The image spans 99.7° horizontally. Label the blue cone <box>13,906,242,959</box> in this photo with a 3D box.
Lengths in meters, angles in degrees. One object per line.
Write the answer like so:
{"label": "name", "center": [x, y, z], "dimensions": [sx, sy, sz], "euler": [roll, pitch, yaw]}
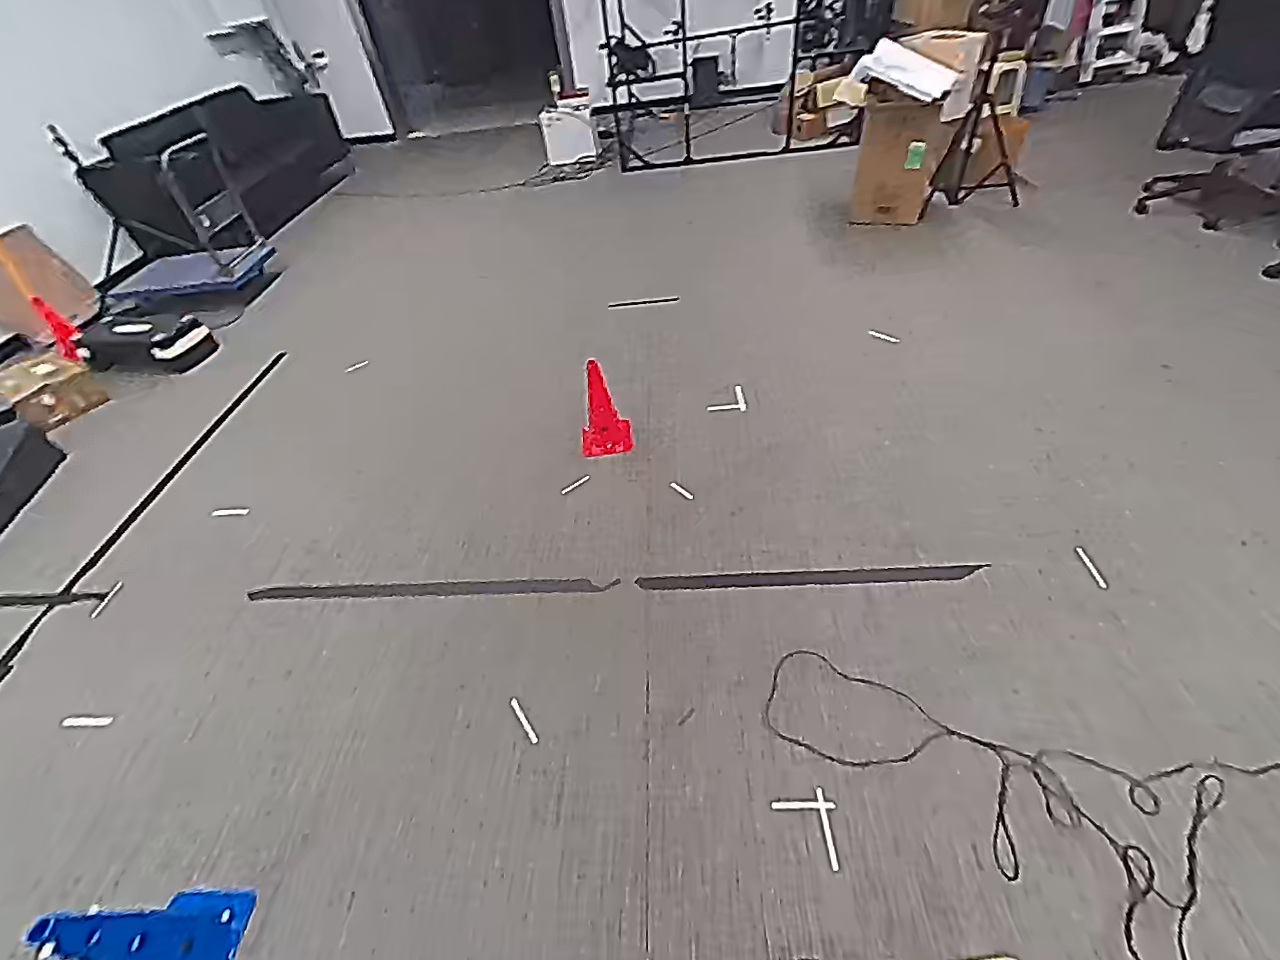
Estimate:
{"label": "blue cone", "center": [-0.948, 0.874, 0.983], "dimensions": [0.193, 0.380, 0.192], "euler": [-3, 46, 6]}

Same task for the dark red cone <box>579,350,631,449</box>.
{"label": "dark red cone", "center": [-0.159, -0.310, 2.019], "dimensions": [0.202, 0.394, 0.201], "euler": [-9, 45, 0]}
